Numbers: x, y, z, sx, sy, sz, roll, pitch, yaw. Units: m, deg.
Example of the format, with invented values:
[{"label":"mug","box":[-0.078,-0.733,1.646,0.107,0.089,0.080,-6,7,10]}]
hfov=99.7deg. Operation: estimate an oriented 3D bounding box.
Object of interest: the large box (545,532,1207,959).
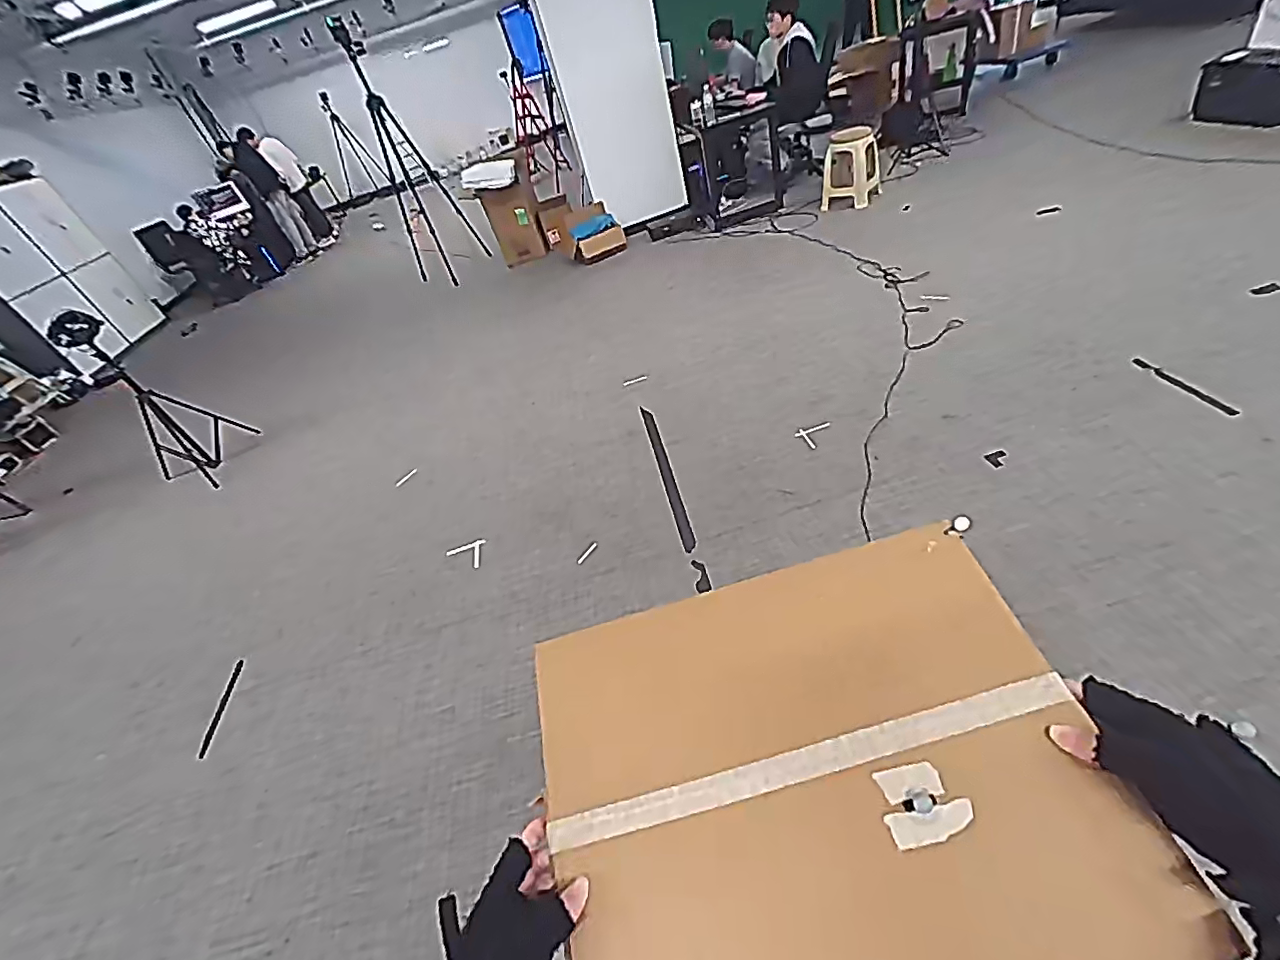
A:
[{"label":"large box","box":[0.159,0.311,0.543,0.408,0.320,0.320,-18,52,2]}]
